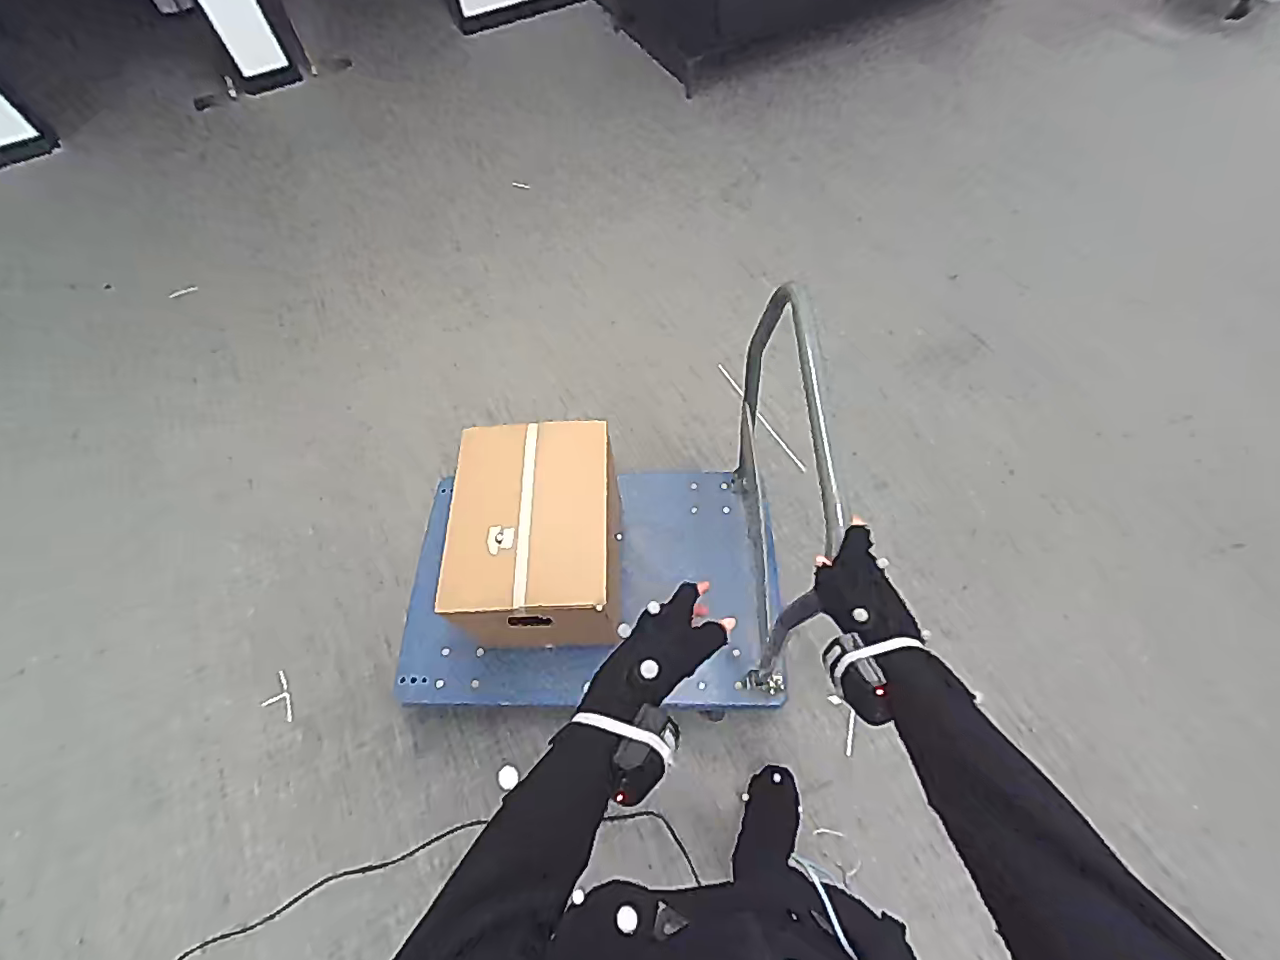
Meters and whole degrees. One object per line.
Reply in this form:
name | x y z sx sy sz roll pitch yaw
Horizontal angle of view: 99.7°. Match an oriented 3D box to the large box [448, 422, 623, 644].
large box | -0.203 0.126 1.204 0.320 0.320 0.408 -3 62 2
